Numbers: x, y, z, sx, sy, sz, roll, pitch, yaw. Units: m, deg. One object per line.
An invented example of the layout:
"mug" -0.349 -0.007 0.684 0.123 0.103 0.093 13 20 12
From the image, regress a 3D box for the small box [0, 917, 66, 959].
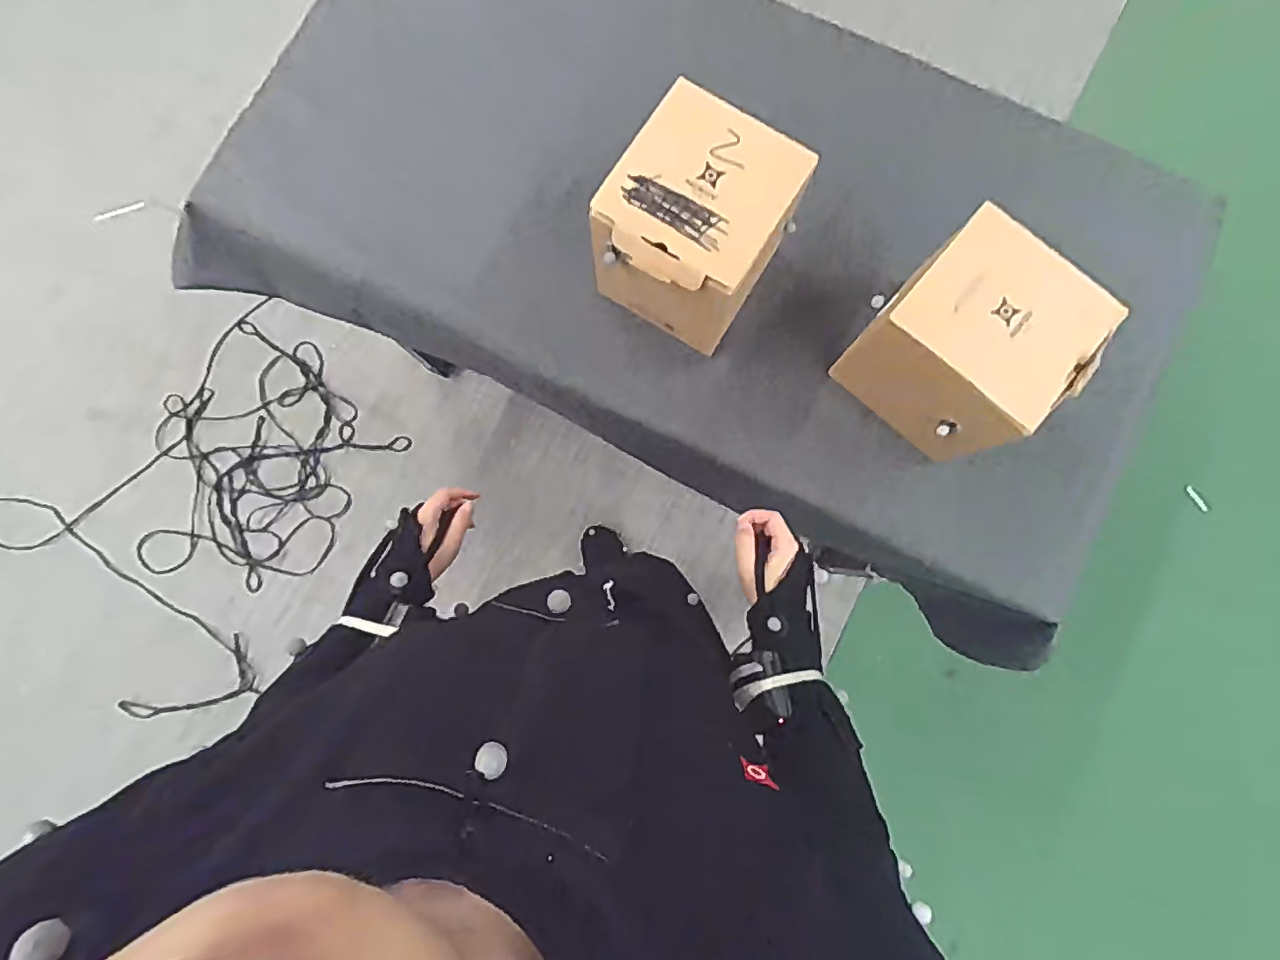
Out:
"small box" -1.420 1.105 1.171 0.168 0.176 0.179 7 82 0

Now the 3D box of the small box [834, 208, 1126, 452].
"small box" 0.356 -0.147 0.603 0.179 0.176 0.168 40 83 5
